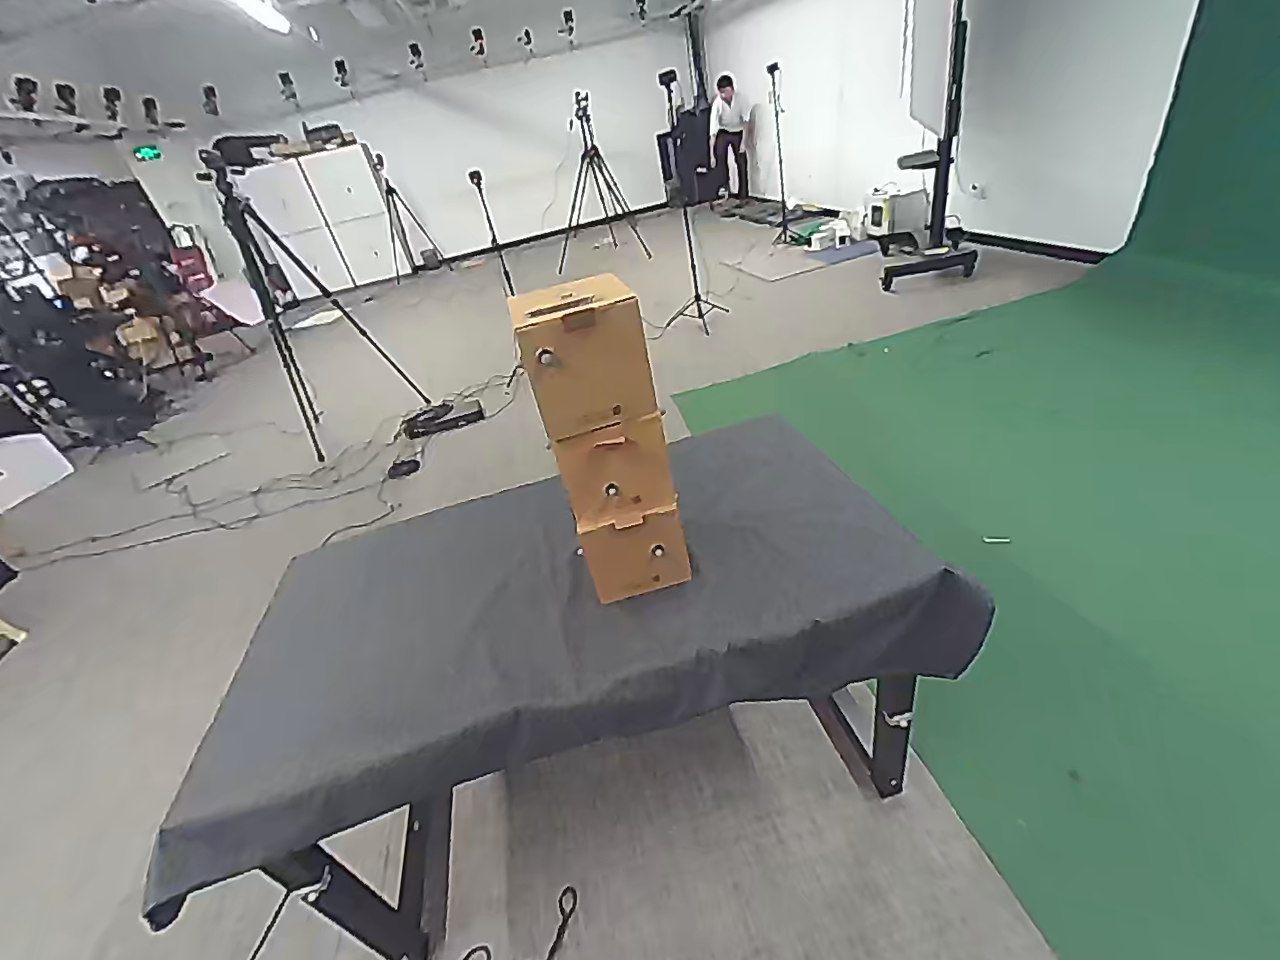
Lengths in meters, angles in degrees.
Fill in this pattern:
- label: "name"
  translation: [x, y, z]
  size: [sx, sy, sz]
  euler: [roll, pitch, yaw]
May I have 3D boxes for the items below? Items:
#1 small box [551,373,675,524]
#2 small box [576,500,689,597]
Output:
- label: "small box"
  translation: [-0.047, -0.055, 0.892]
  size: [0.168, 0.176, 0.179]
  euler: [-14, 34, -3]
- label: "small box"
  translation: [-0.017, 0.088, 0.966]
  size: [0.168, 0.176, 0.179]
  euler: [-14, 32, -3]
